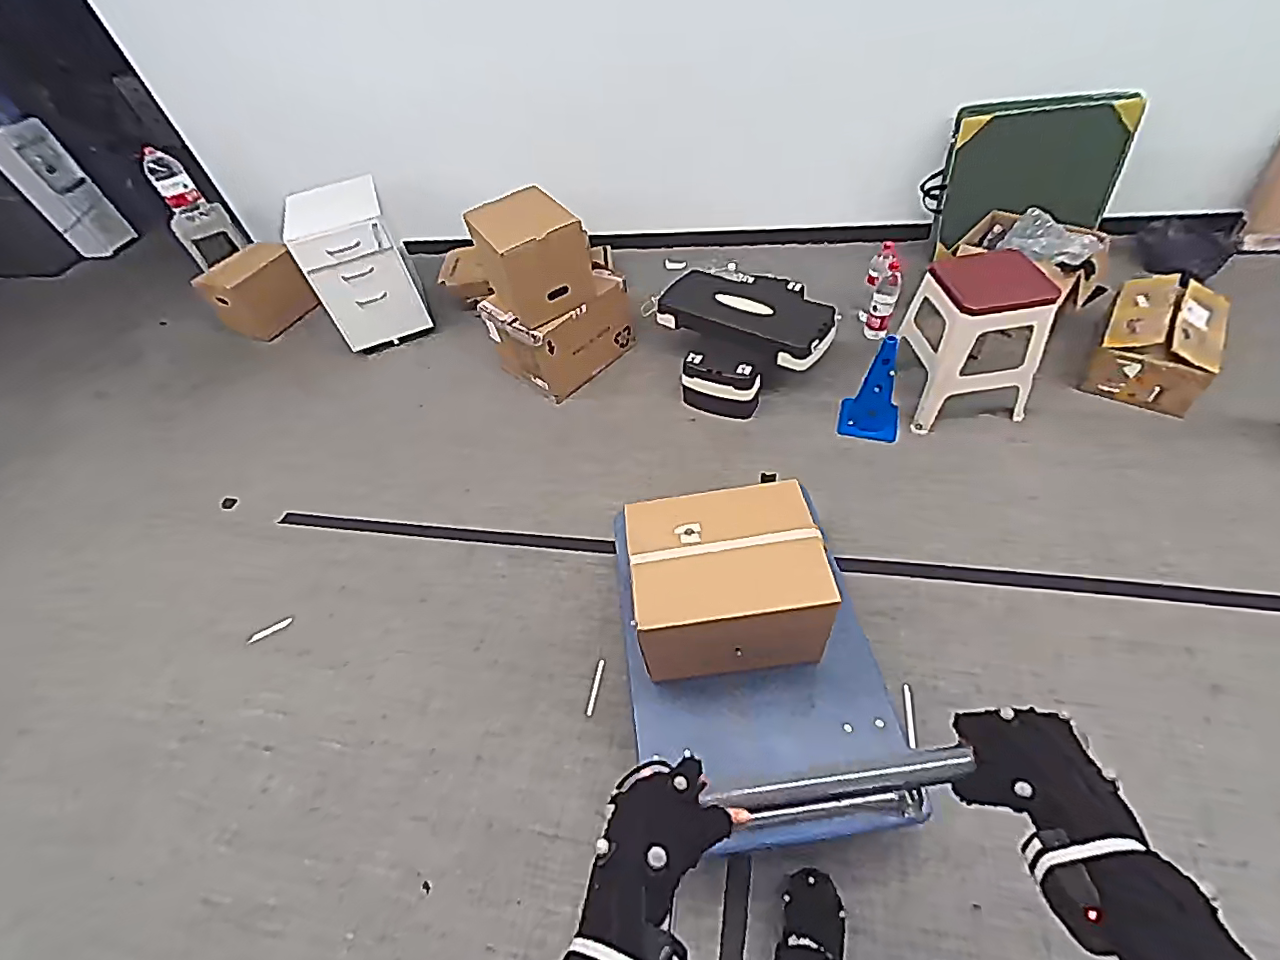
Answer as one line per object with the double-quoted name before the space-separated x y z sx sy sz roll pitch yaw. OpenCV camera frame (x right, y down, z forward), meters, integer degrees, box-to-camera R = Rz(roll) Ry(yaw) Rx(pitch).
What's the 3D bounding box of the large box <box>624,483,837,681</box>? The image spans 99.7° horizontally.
"large box" 0.194 0.246 1.265 0.408 0.320 0.320 -9 50 3
